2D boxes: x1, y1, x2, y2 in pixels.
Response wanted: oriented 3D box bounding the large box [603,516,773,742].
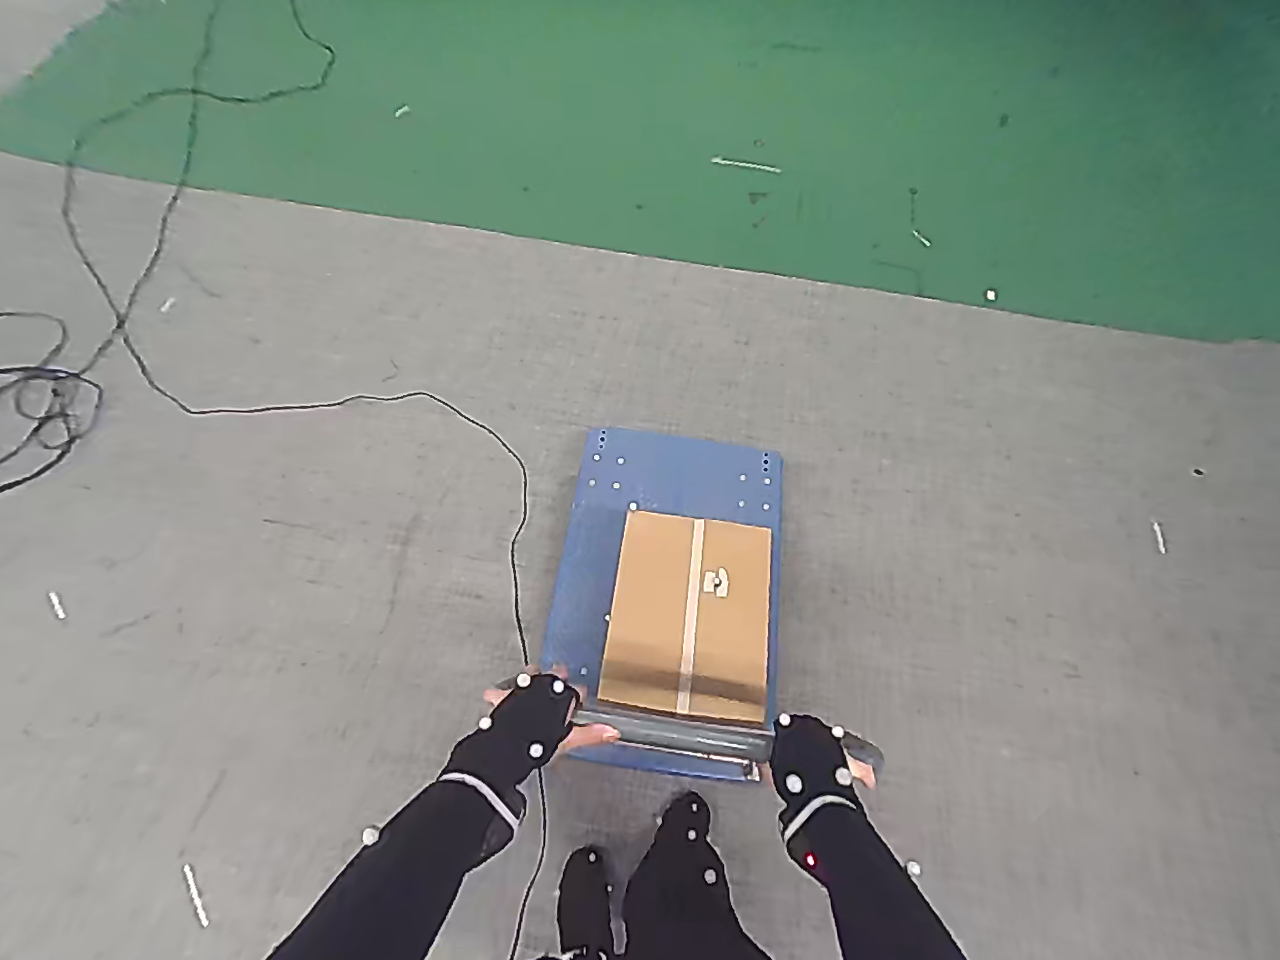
[{"bbox_3d":[0.102,0.339,1.192,0.320,0.320,0.408,8,62,1],"label":"large box"}]
